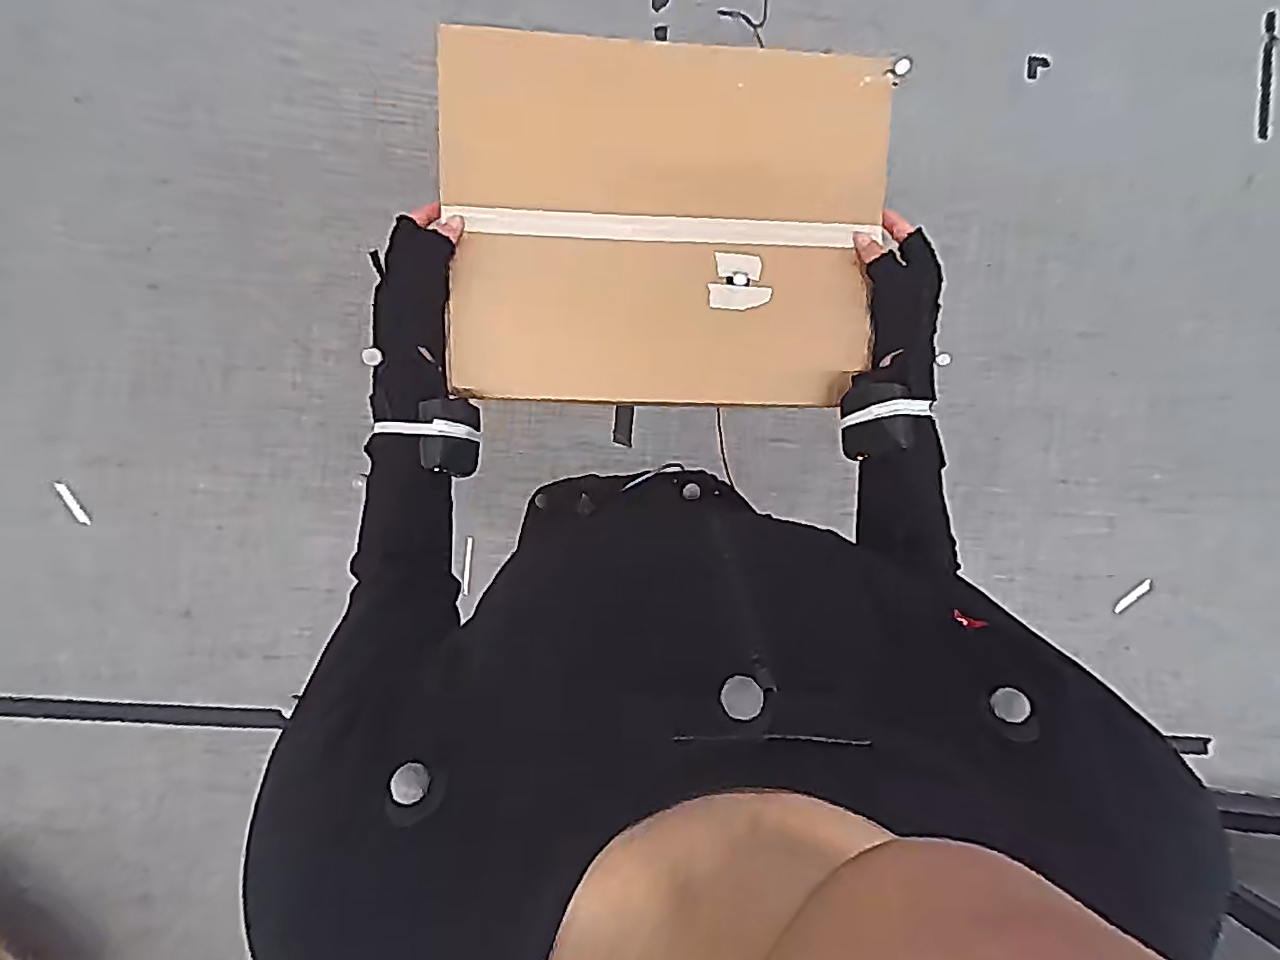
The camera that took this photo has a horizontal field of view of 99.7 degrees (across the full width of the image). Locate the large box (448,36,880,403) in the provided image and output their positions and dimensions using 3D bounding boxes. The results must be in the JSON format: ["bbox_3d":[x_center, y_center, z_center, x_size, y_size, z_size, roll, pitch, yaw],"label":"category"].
[{"bbox_3d":[0.011,-0.254,0.655,0.408,0.320,0.320,1,99,-6],"label":"large box"}]
